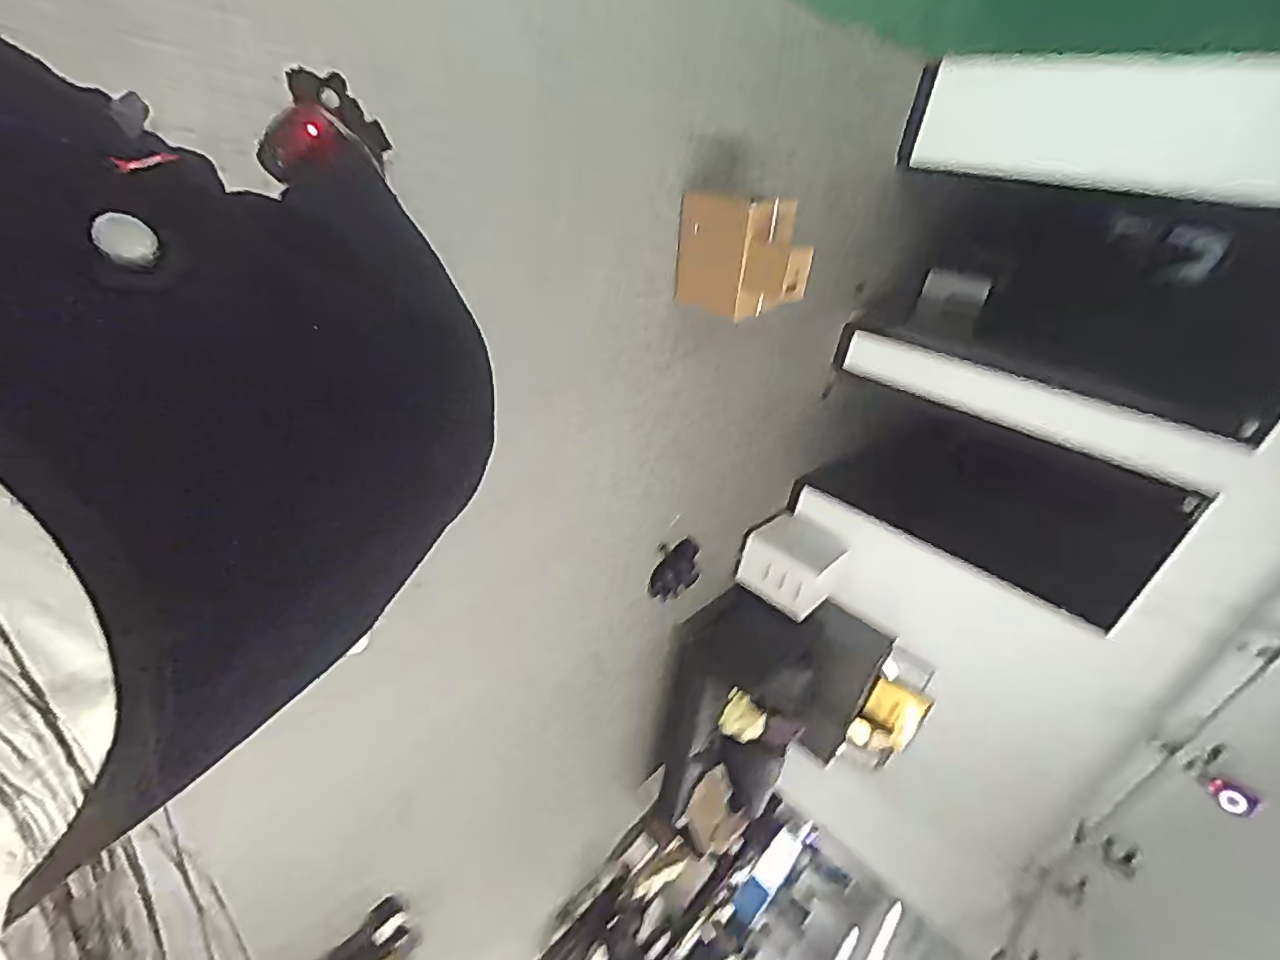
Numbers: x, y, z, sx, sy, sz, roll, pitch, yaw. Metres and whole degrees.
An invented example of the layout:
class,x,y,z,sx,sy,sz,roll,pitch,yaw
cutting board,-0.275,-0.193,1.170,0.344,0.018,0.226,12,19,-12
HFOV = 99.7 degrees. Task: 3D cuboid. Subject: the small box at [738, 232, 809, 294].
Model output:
class,x,y,z,sx,sy,sz,roll,pitch,yaw
small box,0.475,-0.786,1.949,0.168,0.176,0.179,-24,132,-40
